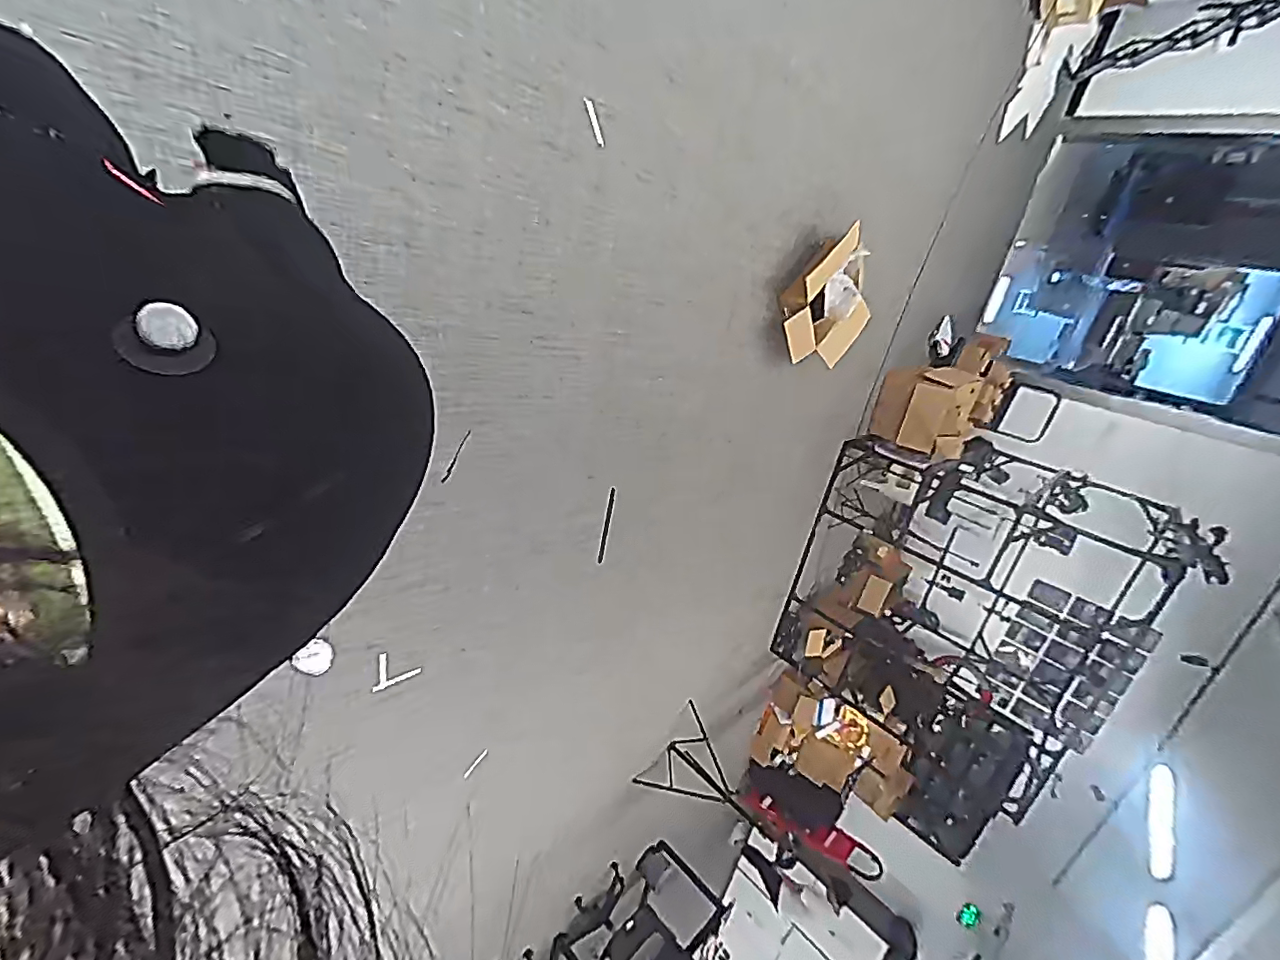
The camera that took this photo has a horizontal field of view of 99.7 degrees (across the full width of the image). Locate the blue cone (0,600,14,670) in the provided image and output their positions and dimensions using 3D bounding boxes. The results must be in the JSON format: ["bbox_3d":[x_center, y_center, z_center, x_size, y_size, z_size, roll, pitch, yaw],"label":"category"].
[{"bbox_3d":[-1.253,0.391,0.953,0.193,0.380,0.192,-7,118,-47],"label":"blue cone"}]
